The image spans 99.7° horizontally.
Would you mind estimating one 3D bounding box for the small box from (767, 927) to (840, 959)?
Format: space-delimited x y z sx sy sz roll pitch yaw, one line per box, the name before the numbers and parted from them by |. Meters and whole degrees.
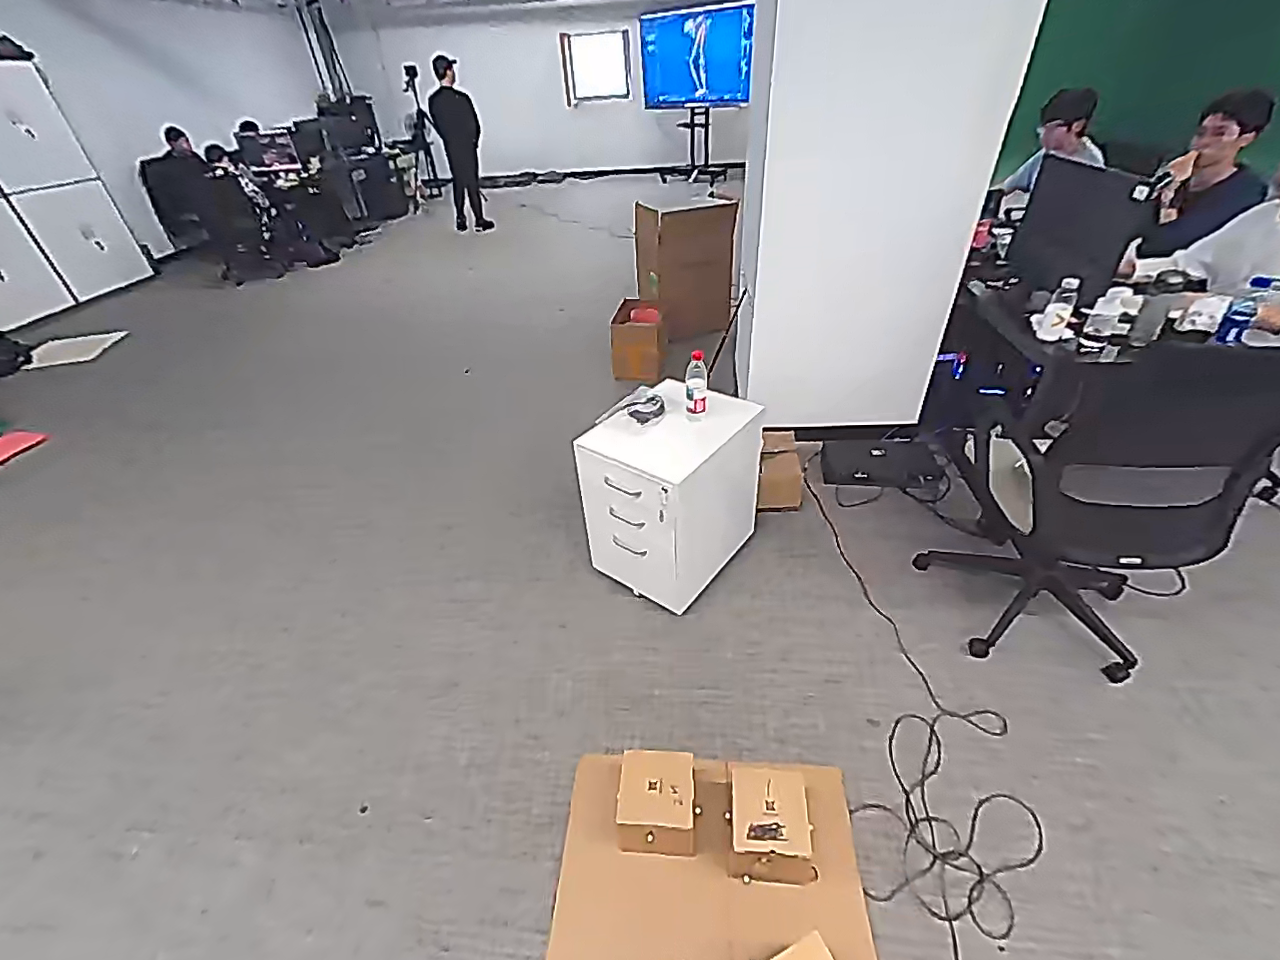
small box | 0.309 0.993 1.010 0.179 0.176 0.168 -20 39 -16
